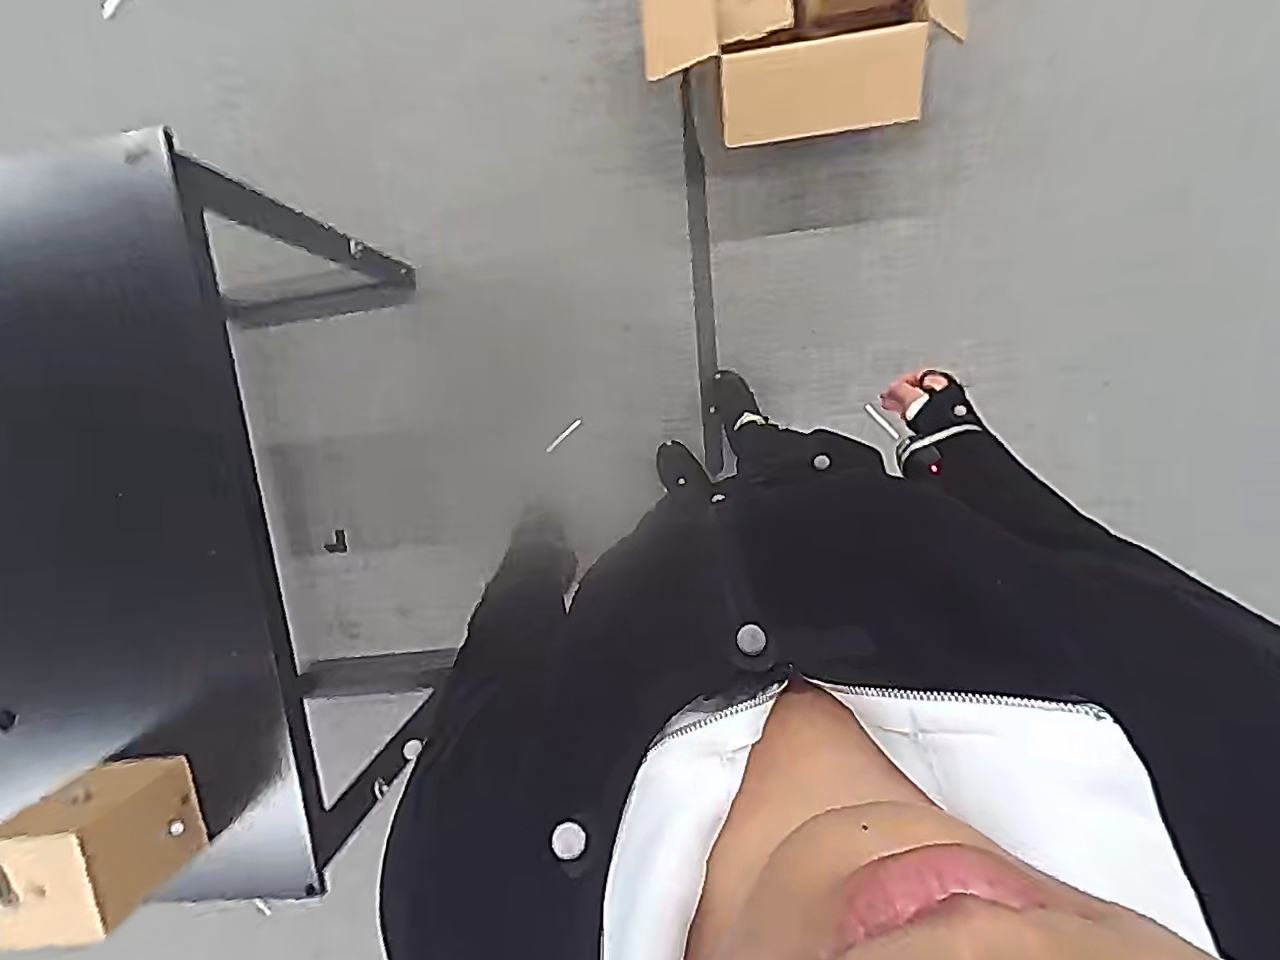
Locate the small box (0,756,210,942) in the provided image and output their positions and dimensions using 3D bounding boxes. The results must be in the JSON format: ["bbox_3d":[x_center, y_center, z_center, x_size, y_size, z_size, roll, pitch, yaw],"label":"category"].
[{"bbox_3d":[-0.822,0.554,0.830,0.179,0.176,0.168,-8,97,5],"label":"small box"}]
